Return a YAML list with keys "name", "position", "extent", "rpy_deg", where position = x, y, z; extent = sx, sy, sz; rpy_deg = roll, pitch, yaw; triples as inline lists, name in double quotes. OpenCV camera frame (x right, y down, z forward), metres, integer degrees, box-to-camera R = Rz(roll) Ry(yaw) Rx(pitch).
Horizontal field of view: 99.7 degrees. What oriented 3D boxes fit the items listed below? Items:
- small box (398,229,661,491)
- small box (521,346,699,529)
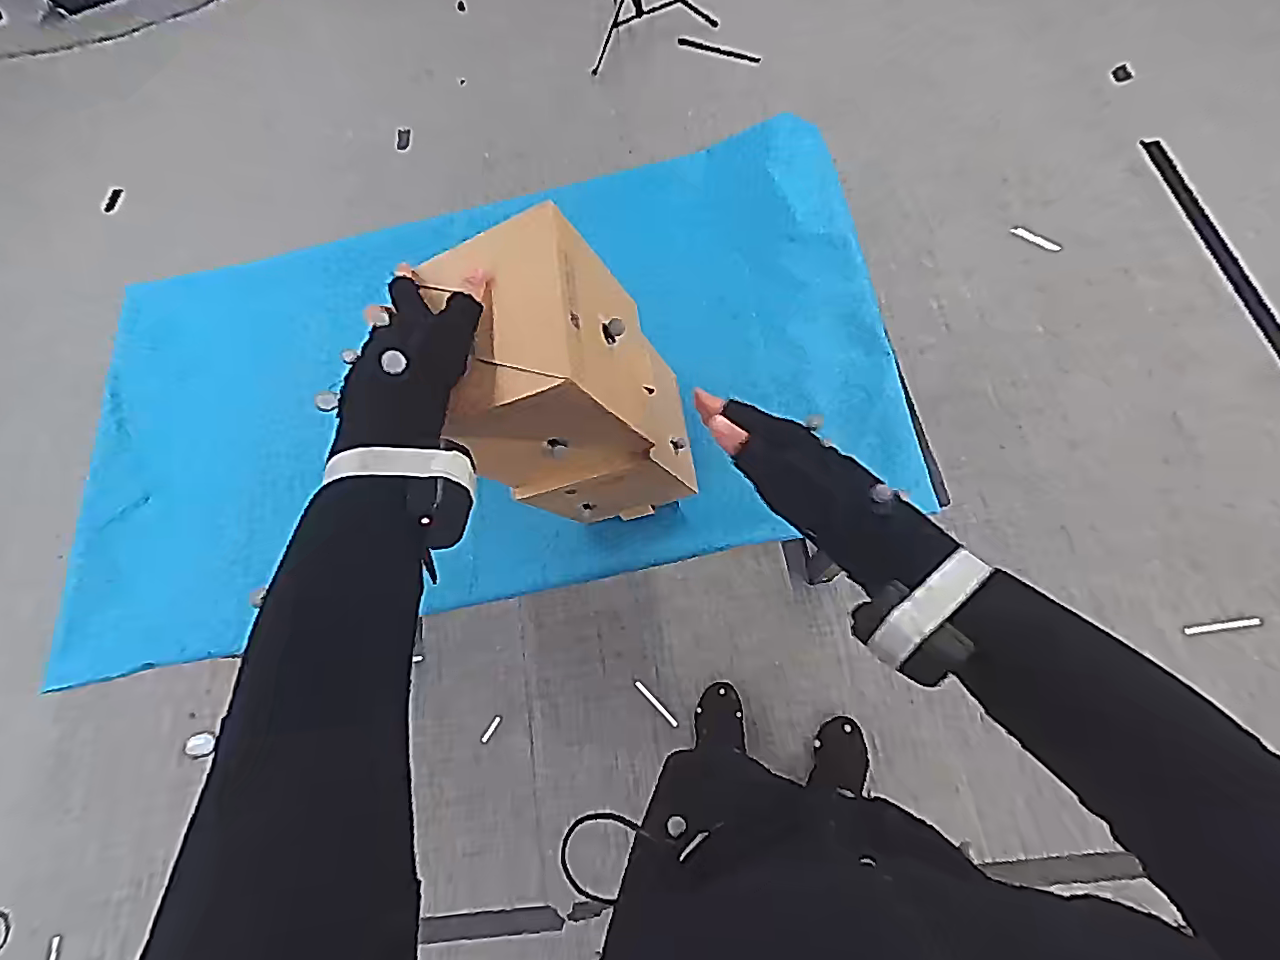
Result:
- name: "small box"
  position: [-0.101, -0.103, 0.515]
  extent: [0.179, 0.176, 0.168]
  rpy_deg: [-16, 69, 22]
- name: "small box"
  position: [-0.042, -0.055, 0.661]
  extent: [0.168, 0.176, 0.179]
  rpy_deg: [-16, 70, 18]
